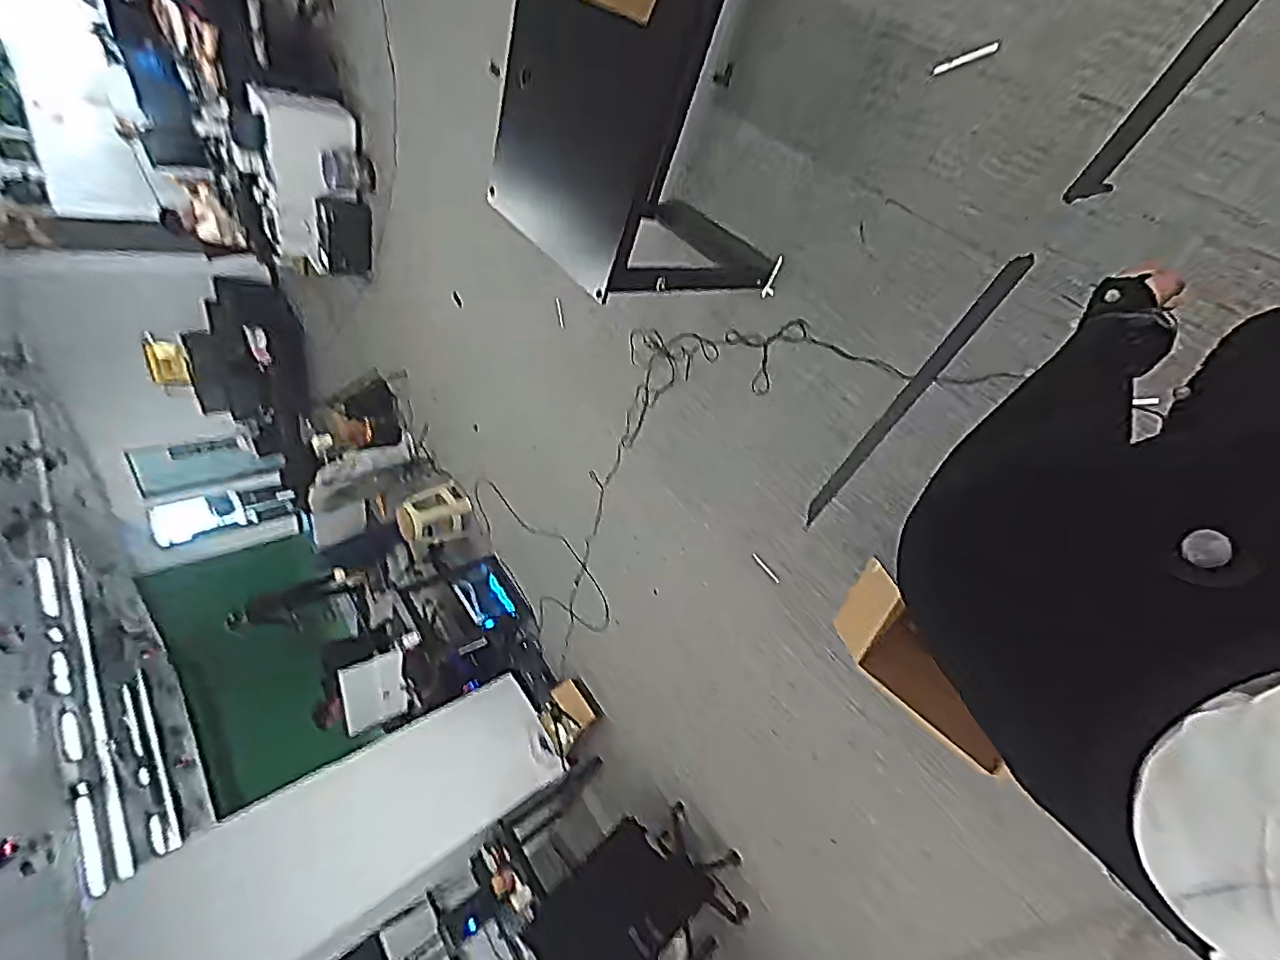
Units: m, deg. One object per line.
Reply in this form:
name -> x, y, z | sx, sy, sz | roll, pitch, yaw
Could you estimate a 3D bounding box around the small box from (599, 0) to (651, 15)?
small box -> -0.052, -1.006, 0.980 | 0.168, 0.176, 0.179 | 59, 140, 16
